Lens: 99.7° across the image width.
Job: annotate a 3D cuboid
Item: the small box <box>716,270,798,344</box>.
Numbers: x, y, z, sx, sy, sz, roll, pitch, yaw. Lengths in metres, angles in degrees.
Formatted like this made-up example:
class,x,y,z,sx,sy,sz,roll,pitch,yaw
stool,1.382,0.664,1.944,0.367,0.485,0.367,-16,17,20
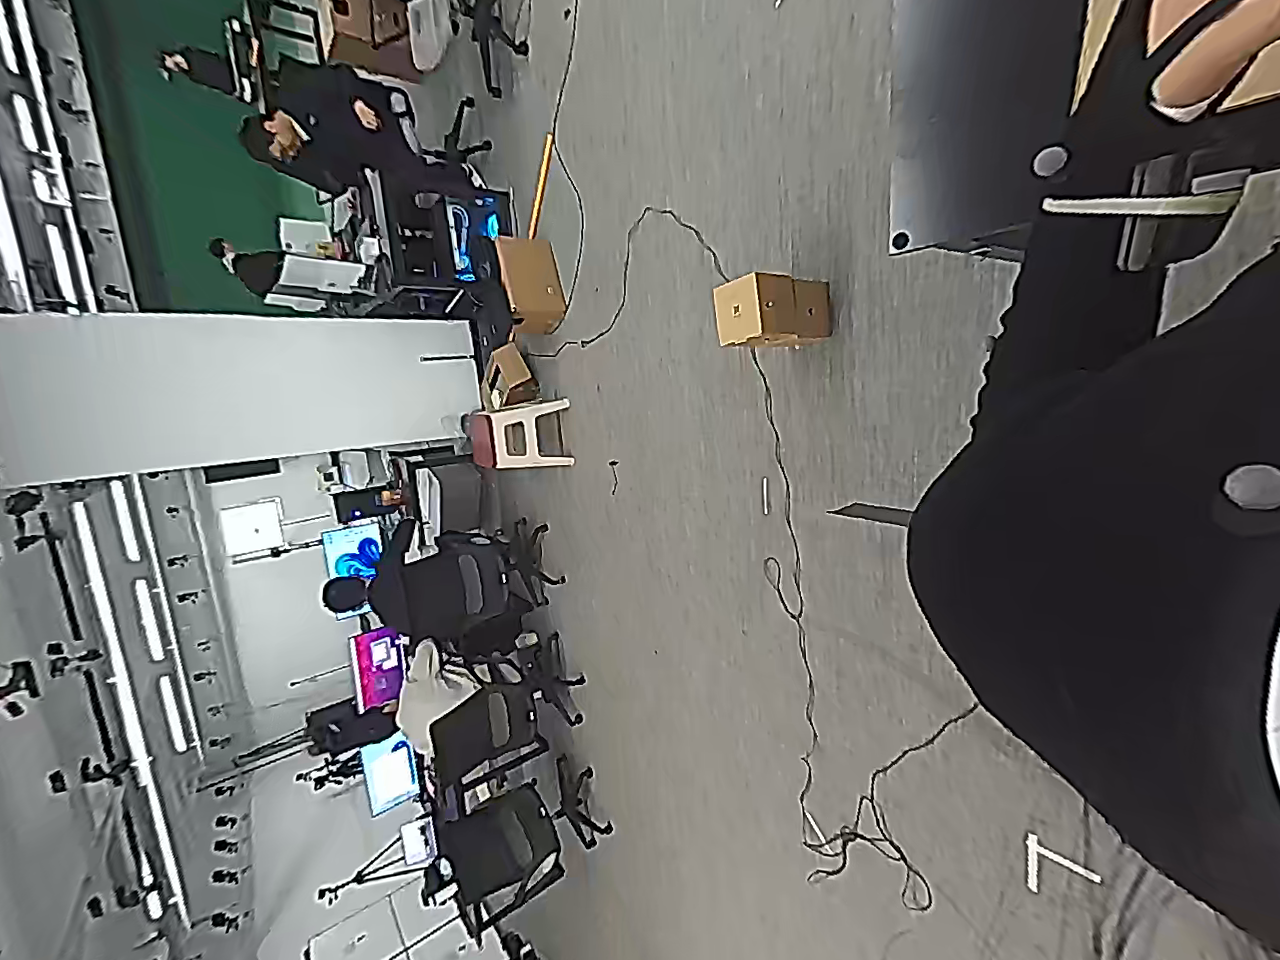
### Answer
class,x,y,z,sx,sy,sz,roll,pitch,yaw
small box,0.350,-0.508,1.602,0.168,0.176,0.179,-1,98,53

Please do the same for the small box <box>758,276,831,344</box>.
class,x,y,z,sx,sy,sz,roll,pitch,yaw
small box,0.480,-0.528,1.698,0.168,0.176,0.179,3,103,54
